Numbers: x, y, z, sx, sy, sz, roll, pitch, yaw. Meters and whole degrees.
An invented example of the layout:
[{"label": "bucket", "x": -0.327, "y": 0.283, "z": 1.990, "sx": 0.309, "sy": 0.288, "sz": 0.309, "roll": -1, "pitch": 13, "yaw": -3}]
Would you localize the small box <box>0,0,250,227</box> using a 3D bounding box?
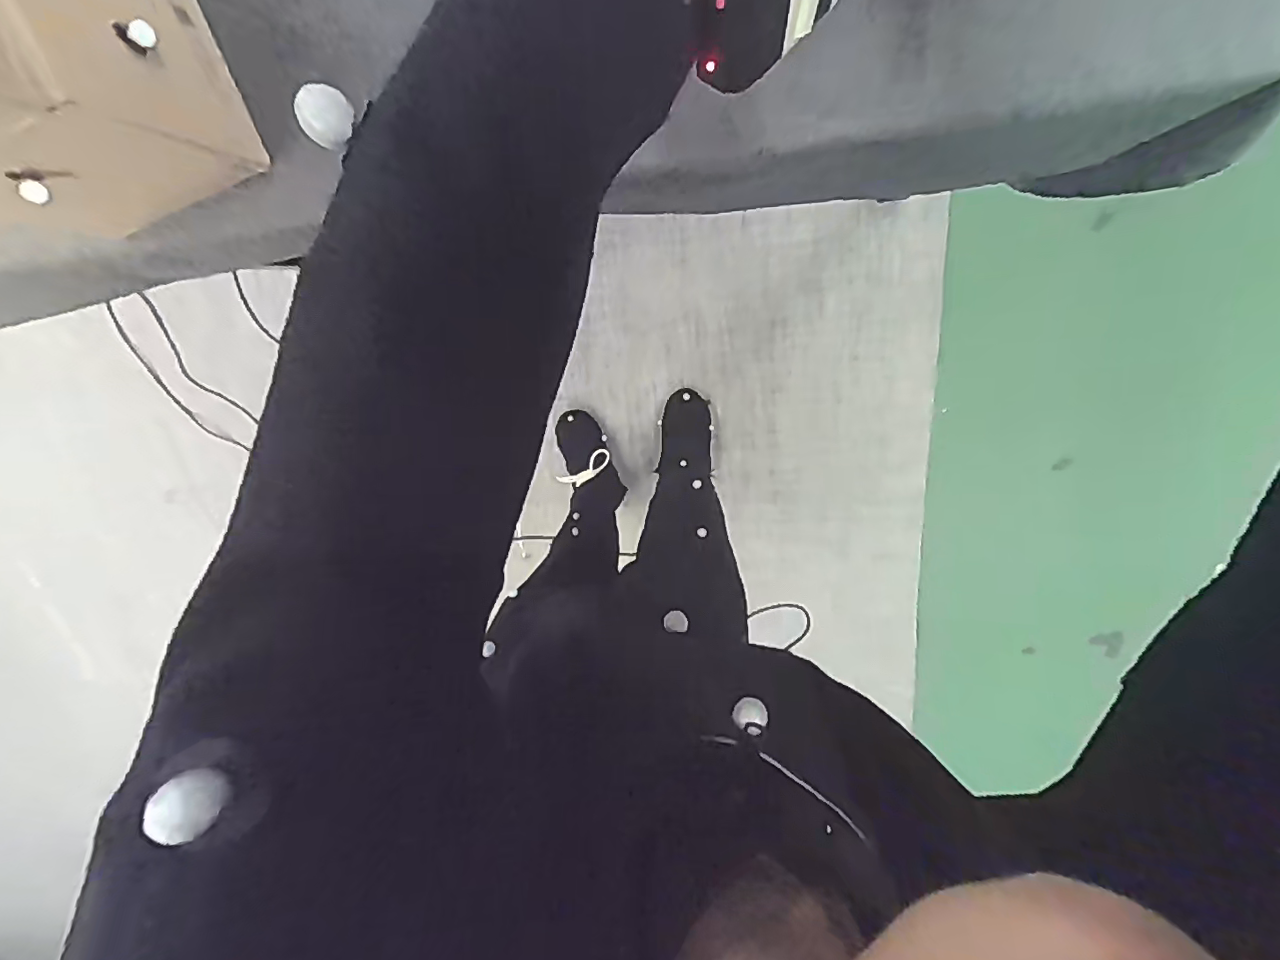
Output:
[{"label": "small box", "x": -0.424, "y": -0.295, "z": 0.379, "sx": 0.179, "sy": 0.176, "sz": 0.168, "roll": -15, "pitch": 106, "yaw": 11}]
